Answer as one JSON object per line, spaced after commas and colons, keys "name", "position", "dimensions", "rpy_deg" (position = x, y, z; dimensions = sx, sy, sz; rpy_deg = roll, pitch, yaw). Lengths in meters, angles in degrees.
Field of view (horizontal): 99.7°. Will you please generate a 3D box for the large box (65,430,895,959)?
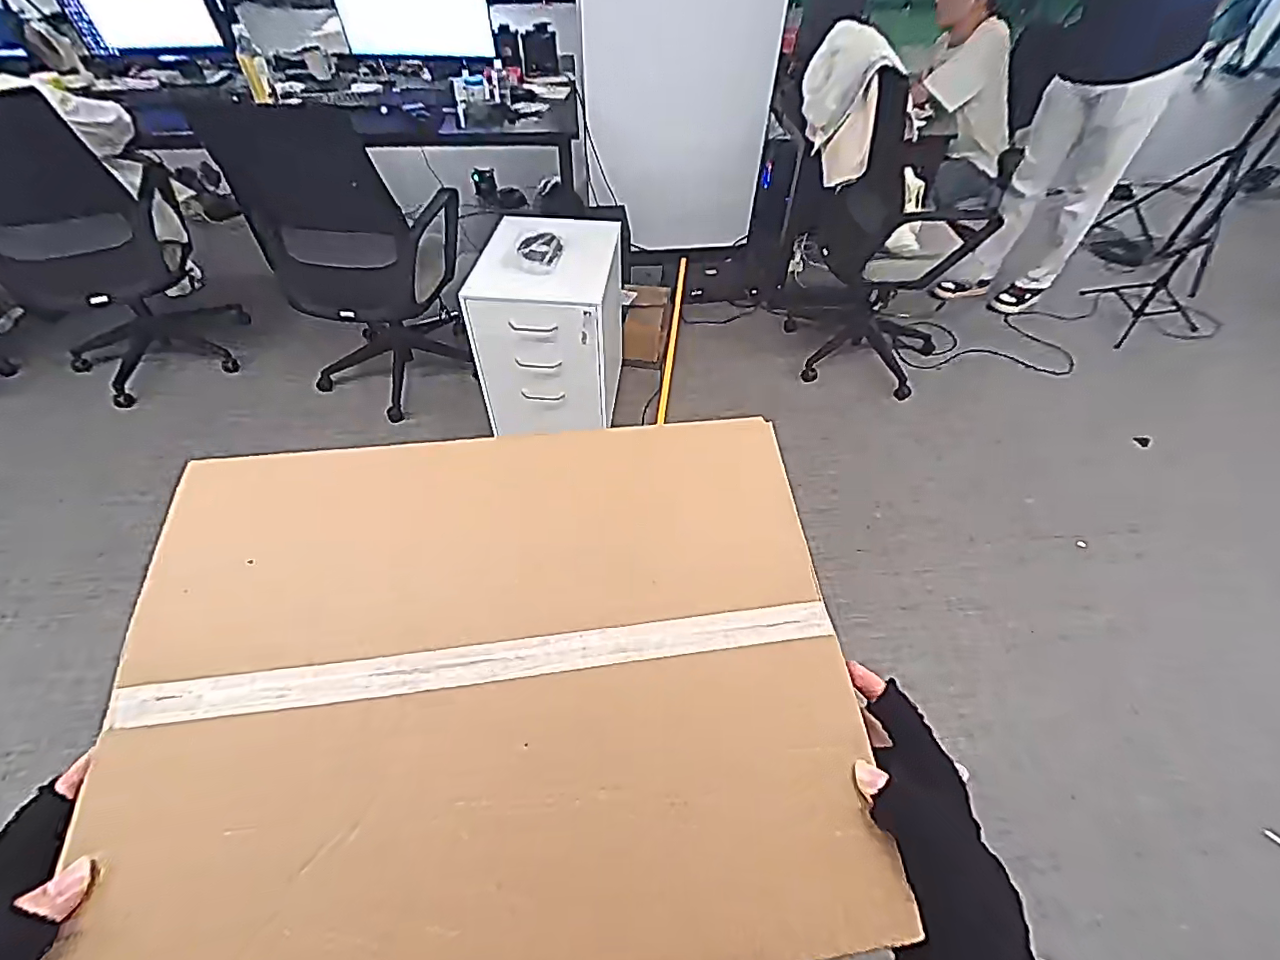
{"name": "large box", "position": [-0.090, 0.186, 0.451], "dimensions": [0.408, 0.320, 0.320], "rpy_deg": [-5, 61, -6]}
